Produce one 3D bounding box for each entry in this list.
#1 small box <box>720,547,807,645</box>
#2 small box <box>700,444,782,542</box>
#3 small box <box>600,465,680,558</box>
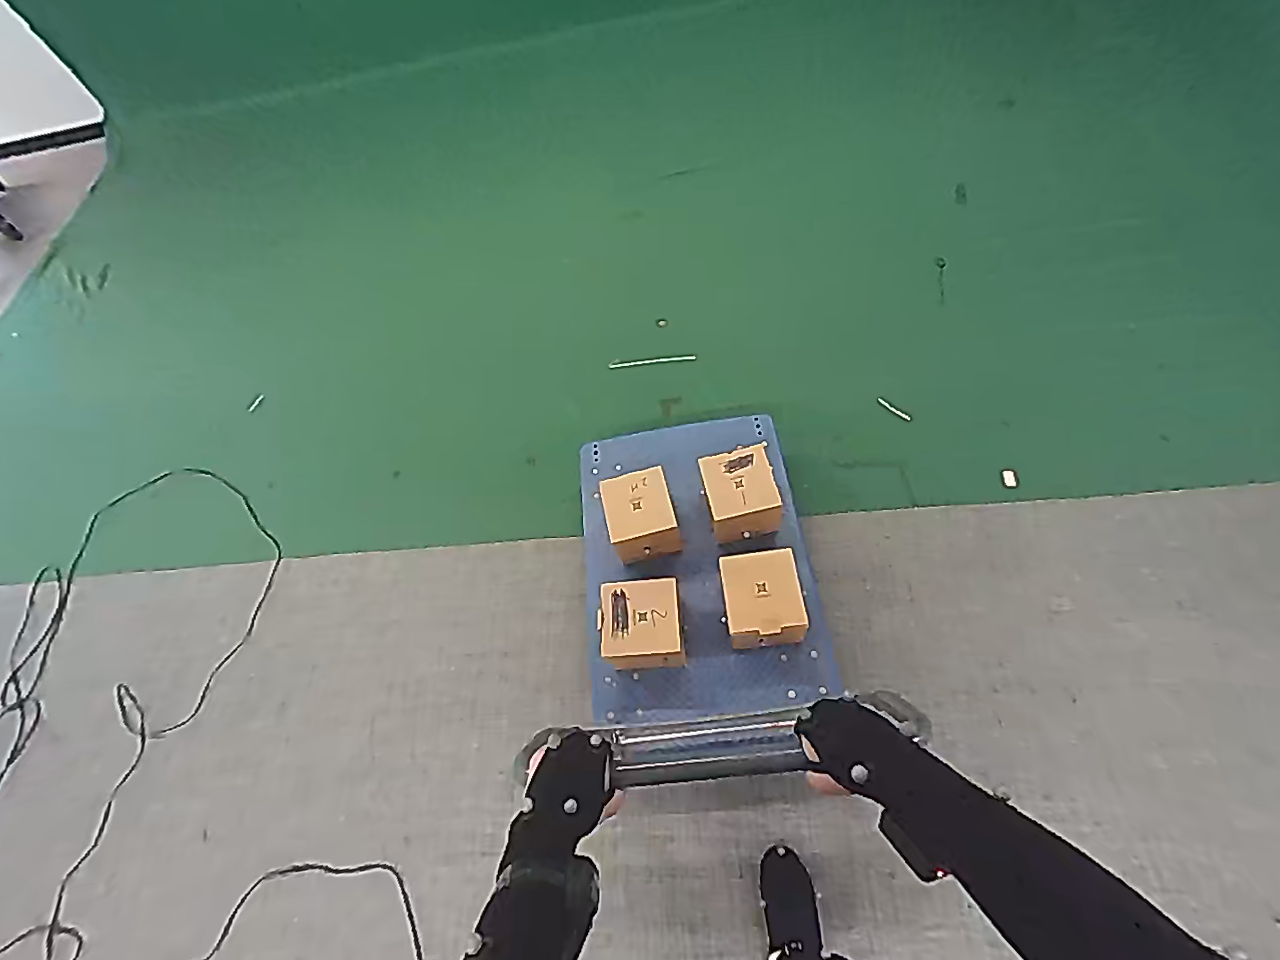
[{"bbox_3d":[0.278,0.273,1.253,0.168,0.176,0.179,-8,63,5],"label":"small box"},{"bbox_3d":[0.252,0.036,1.378,0.168,0.176,0.179,-13,62,4],"label":"small box"},{"bbox_3d":[0.004,0.090,1.394,0.168,0.176,0.179,-14,62,2],"label":"small box"}]
